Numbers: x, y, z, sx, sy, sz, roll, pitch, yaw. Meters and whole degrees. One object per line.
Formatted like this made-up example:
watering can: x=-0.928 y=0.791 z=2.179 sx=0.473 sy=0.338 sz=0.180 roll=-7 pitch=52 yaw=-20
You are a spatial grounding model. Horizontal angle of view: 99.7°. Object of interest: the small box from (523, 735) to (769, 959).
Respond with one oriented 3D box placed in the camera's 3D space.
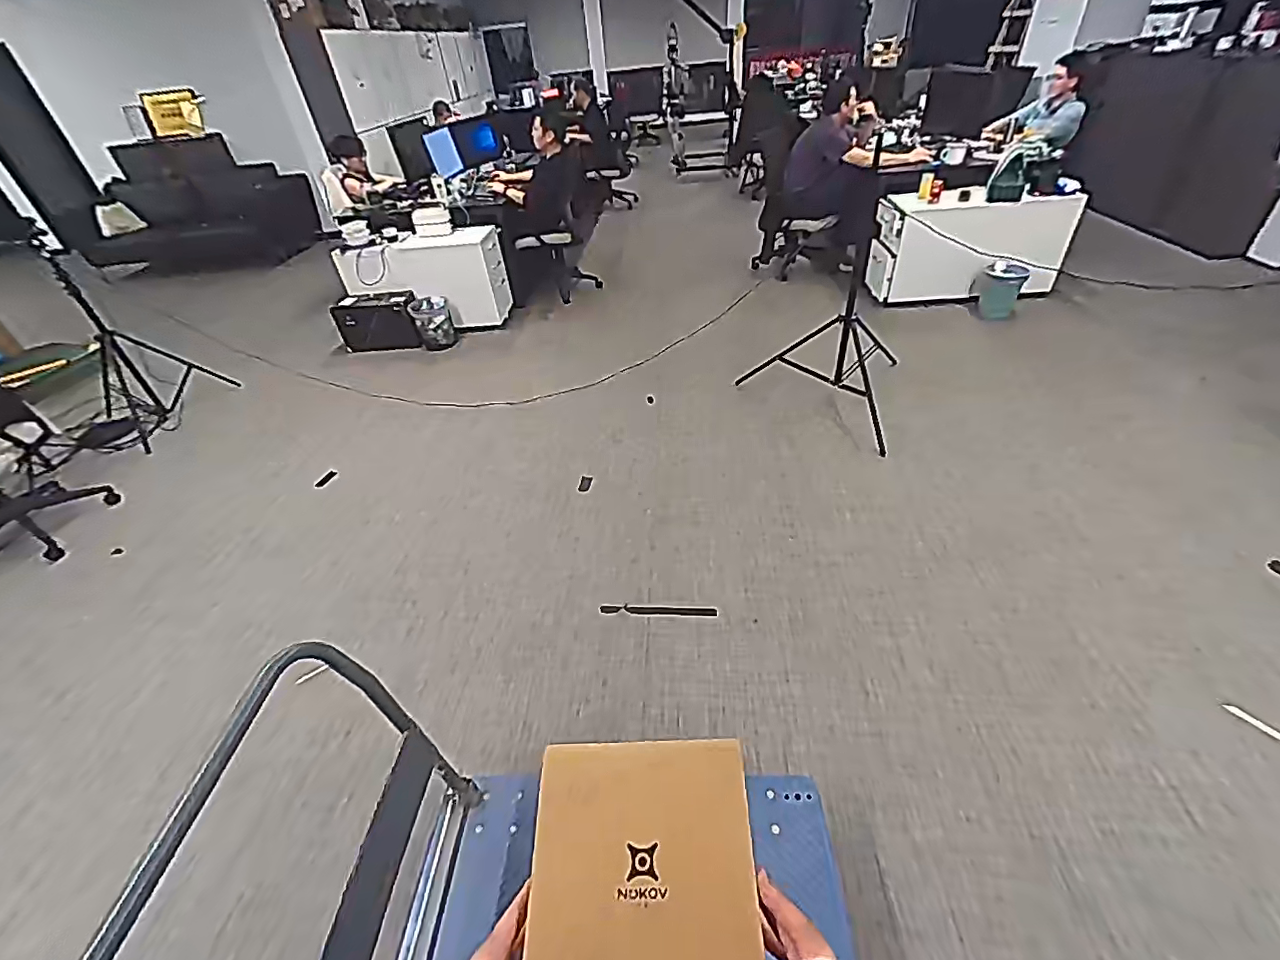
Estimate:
small box: x=0.009 y=0.330 z=0.451 sx=0.168 sy=0.176 sz=0.179 roll=-3 pitch=50 yaw=4
